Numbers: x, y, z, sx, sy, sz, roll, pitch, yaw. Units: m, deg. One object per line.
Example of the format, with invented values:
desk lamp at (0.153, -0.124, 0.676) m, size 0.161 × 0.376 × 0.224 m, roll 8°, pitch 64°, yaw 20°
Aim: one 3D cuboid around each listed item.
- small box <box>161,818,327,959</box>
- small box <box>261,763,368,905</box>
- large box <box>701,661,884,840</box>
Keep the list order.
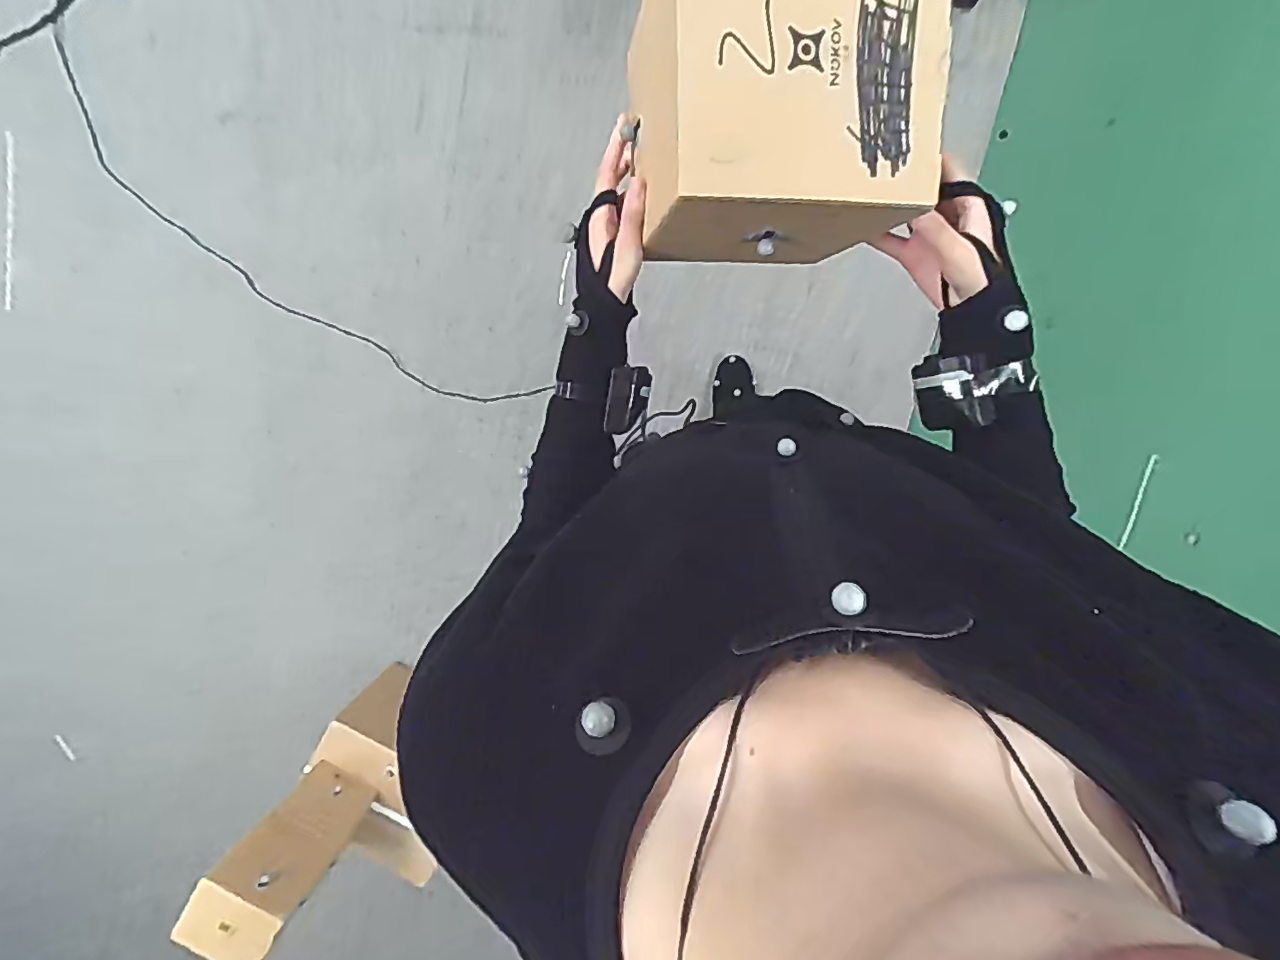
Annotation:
small box at (-0.781, 0.825, 1.084) m, size 0.179 × 0.176 × 0.168 m, roll 32°, pitch 99°, yaw -3°
small box at (-0.766, 0.806, 1.245) m, size 0.168 × 0.176 × 0.179 m, roll 31°, pitch 99°, yaw -2°
large box at (0.381, 0.696, 1.436) m, size 0.408 × 0.320 × 0.320 m, roll -2°, pitch 98°, yaw 1°
